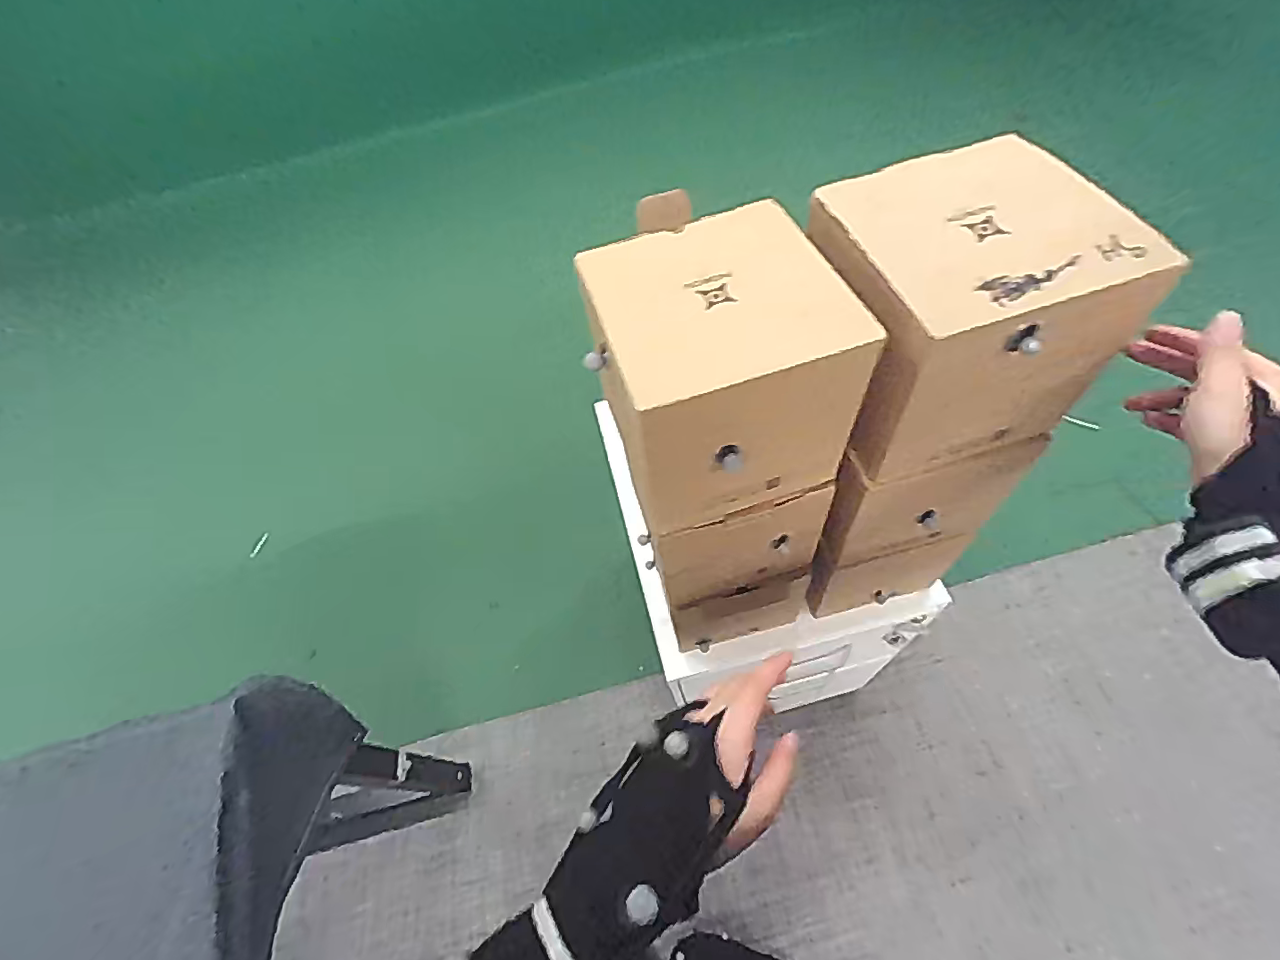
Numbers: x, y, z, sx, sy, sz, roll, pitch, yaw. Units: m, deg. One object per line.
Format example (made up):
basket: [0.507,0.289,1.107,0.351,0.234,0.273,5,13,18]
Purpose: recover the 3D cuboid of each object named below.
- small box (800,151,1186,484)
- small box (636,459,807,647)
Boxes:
small box: [0.244,-0.125,0.438,0.168,0.176,0.179,-16,56,-2]
small box: [0.100,0.105,0.706,0.168,0.176,0.179,-14,56,-2]
